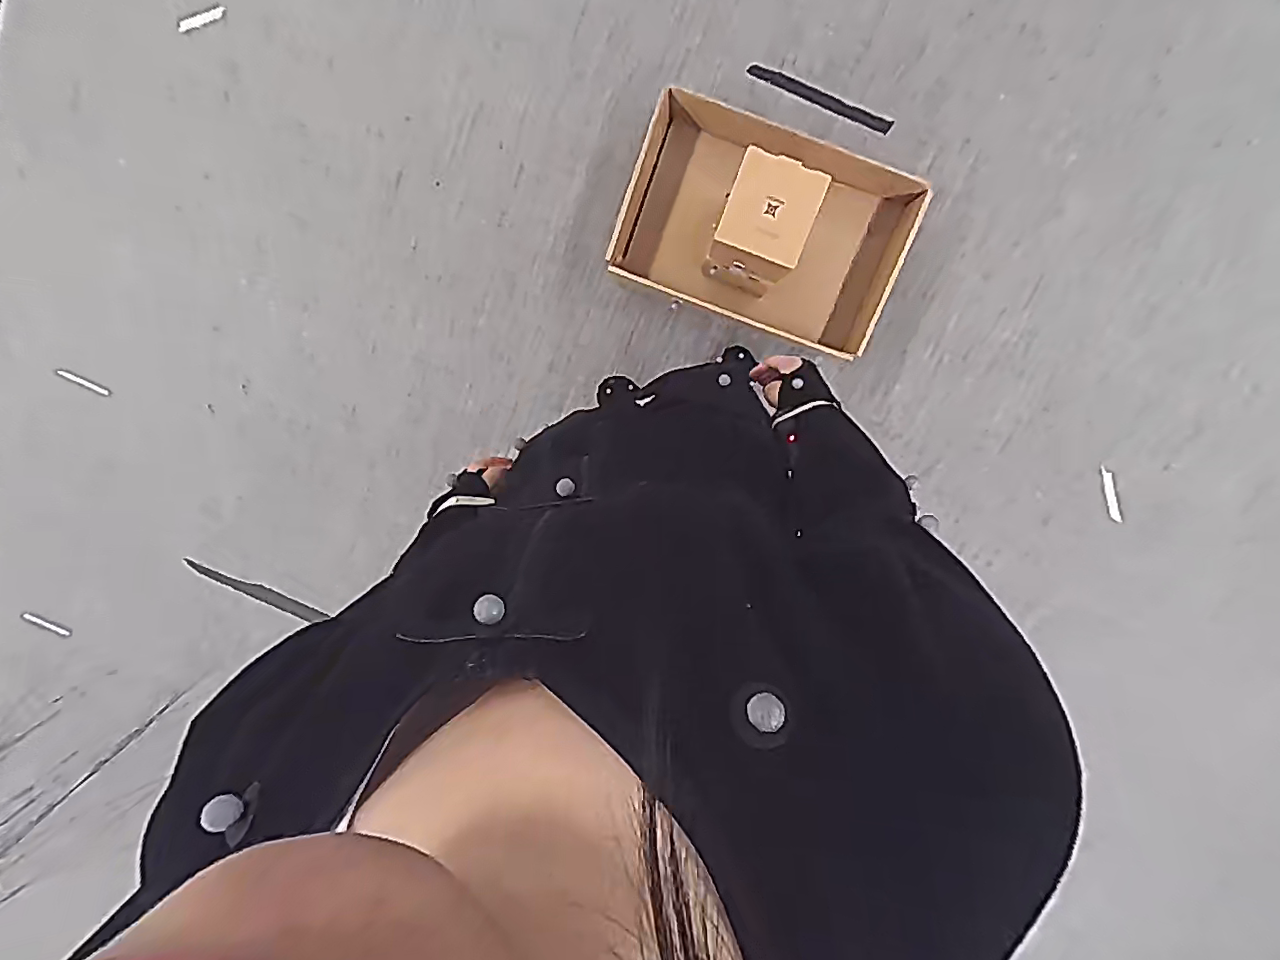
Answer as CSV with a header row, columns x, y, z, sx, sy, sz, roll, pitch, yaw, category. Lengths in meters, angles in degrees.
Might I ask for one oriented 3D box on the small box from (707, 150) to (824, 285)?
x,y,z,sx,sy,sz,roll,pitch,yaw,category
0.240,-0.517,1.089,0.168,0.176,0.179,20,101,-1,small box
